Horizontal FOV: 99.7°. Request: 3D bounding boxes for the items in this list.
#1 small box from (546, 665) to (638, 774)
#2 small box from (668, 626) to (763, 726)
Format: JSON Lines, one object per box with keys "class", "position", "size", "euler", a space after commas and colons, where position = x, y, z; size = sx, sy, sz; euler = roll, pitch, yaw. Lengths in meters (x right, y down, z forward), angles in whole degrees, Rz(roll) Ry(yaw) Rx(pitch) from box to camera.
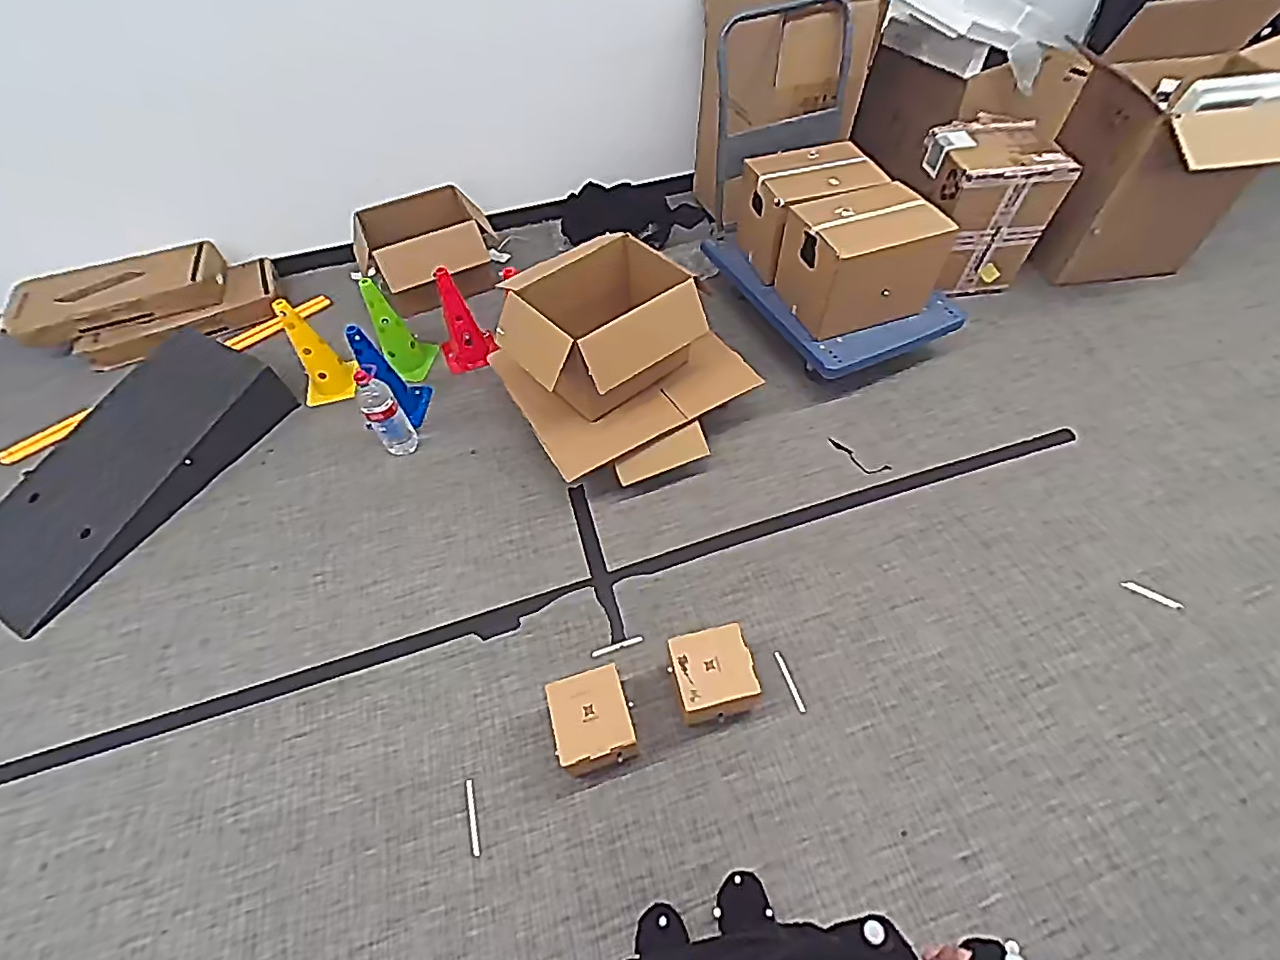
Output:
{"class": "small box", "position": [-0.105, 0.552, 1.232], "size": [0.168, 0.176, 0.179], "euler": [-15, 55, -10]}
{"class": "small box", "position": [0.170, 0.467, 1.281], "size": [0.179, 0.176, 0.168], "euler": [-11, 56, -7]}
